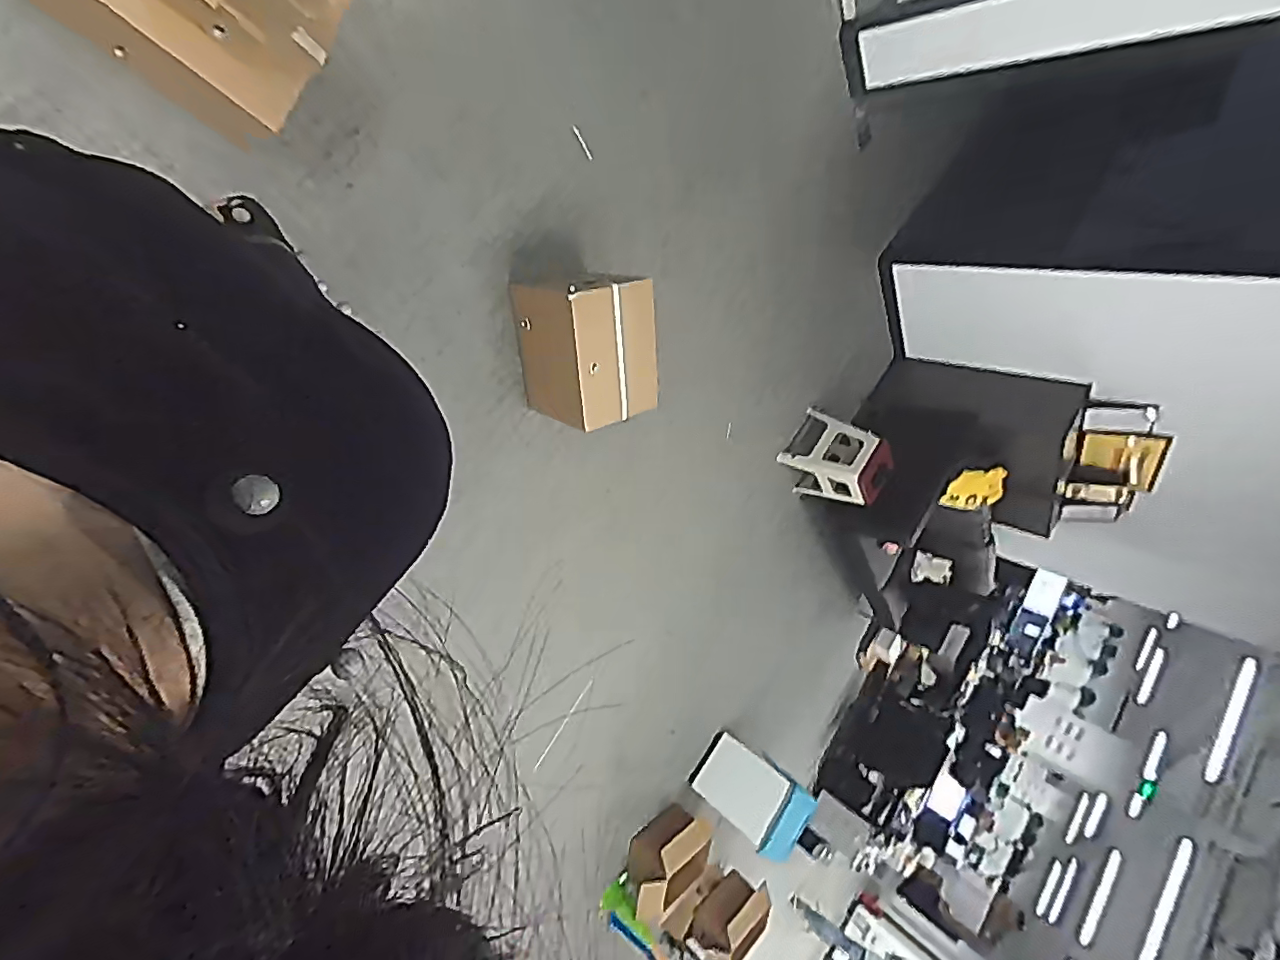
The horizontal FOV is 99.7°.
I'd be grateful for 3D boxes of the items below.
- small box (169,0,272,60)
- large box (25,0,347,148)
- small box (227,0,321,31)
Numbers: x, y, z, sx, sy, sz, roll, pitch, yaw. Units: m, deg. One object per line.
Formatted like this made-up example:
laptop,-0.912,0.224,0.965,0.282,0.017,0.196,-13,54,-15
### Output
small box,-0.584,-0.736,0.752,0.168,0.176,0.179,31,85,-49
large box,-0.770,-0.836,0.881,0.408,0.320,0.320,30,84,-47
small box,-0.468,-0.688,0.647,0.179,0.176,0.168,29,86,-49
